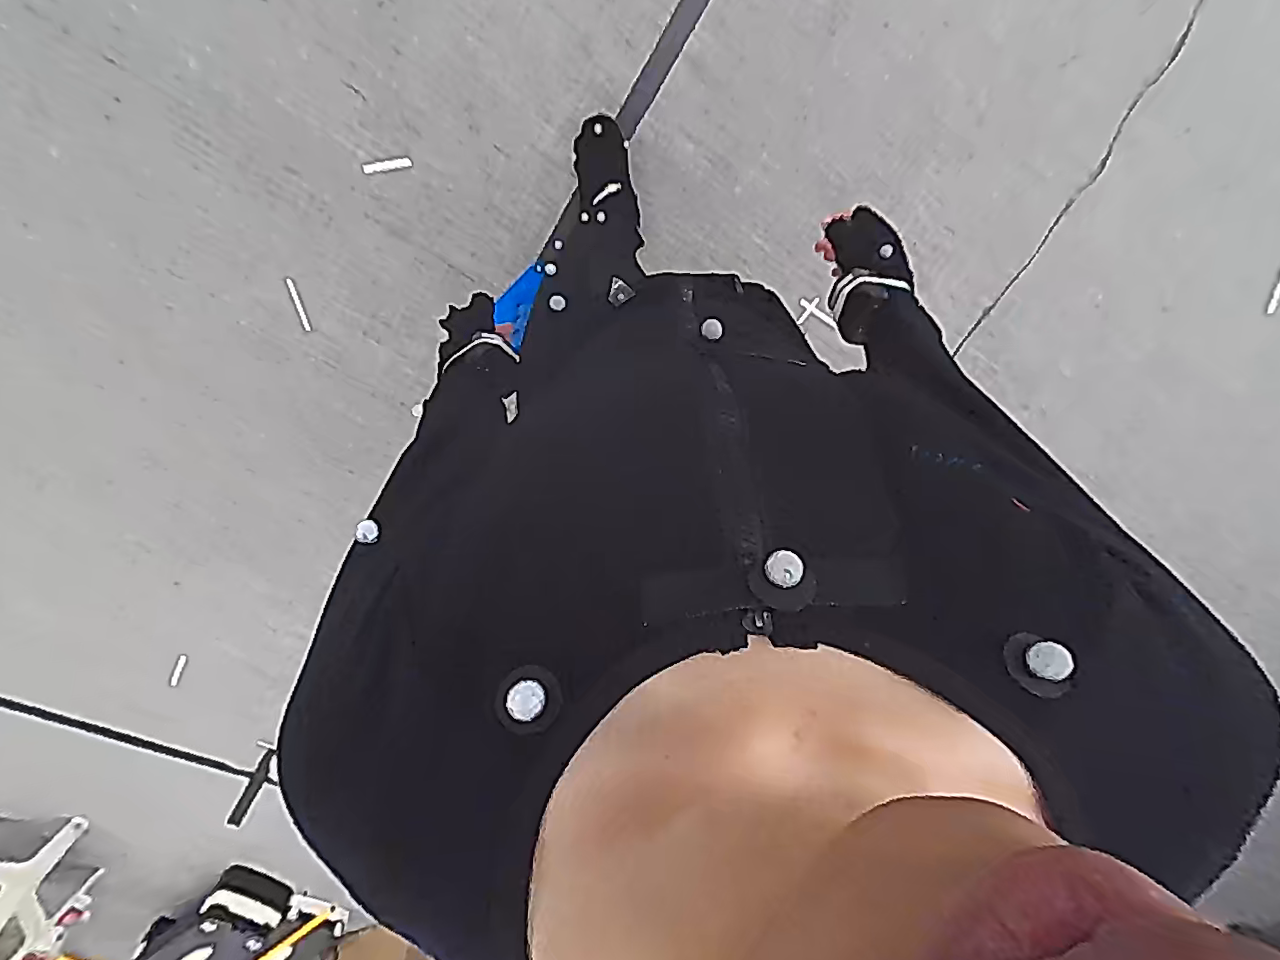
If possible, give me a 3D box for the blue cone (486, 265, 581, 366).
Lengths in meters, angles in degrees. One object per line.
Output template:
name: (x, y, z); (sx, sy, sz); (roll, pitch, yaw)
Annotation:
blue cone: (-0.252, -0.327, 1.184); (0.193, 0.380, 0.192); (-38, 112, 14)
